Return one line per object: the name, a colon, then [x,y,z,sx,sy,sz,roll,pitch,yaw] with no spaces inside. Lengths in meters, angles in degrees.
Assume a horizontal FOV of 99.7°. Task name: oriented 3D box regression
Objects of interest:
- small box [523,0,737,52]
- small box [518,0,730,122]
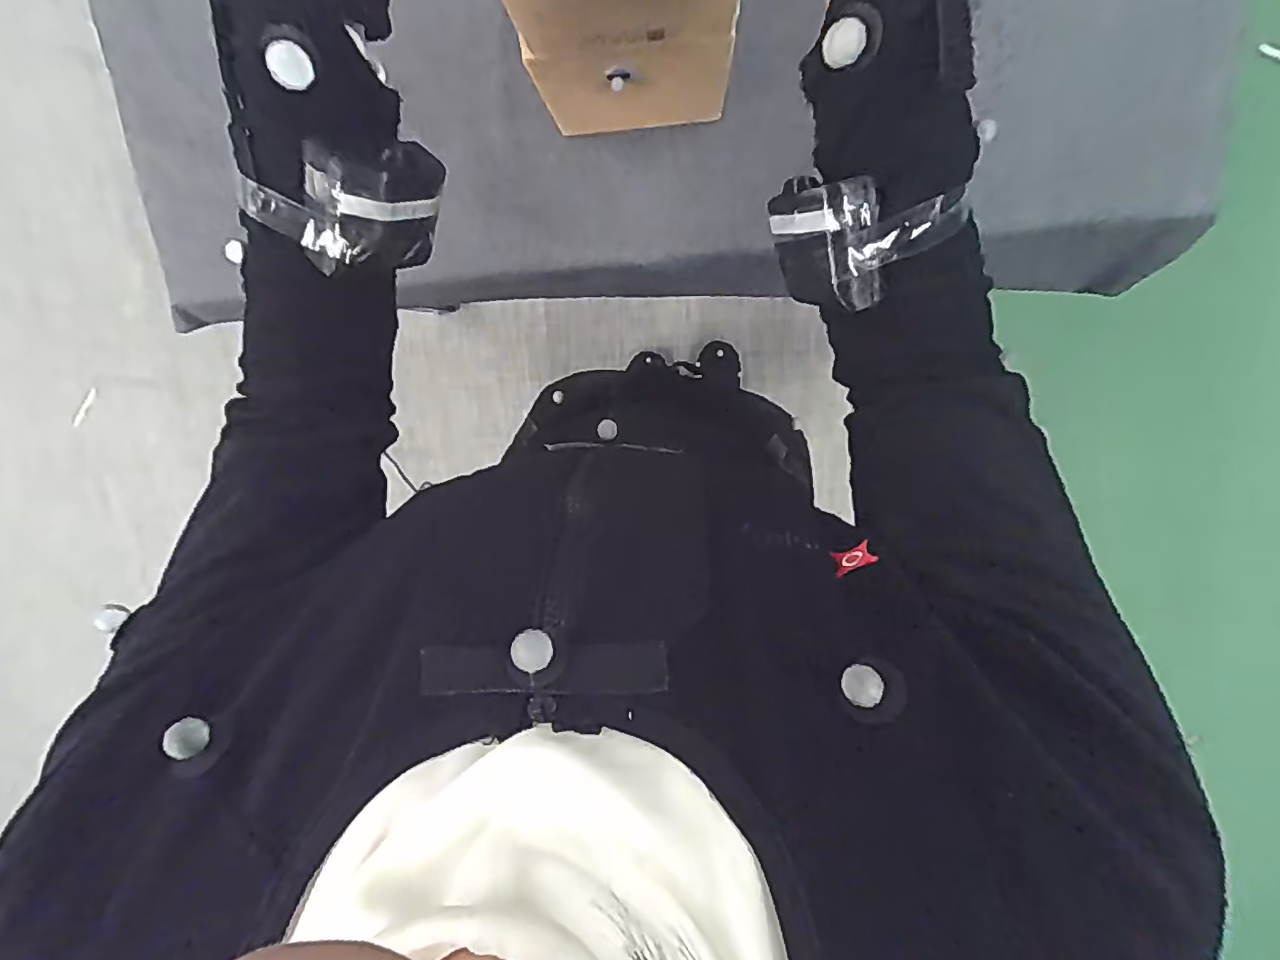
small box: [-0.015,-0.422,0.345,0.168,0.176,0.179,-4,106,4]
small box: [-0.010,-0.458,0.501,0.179,0.176,0.168,-2,104,4]
